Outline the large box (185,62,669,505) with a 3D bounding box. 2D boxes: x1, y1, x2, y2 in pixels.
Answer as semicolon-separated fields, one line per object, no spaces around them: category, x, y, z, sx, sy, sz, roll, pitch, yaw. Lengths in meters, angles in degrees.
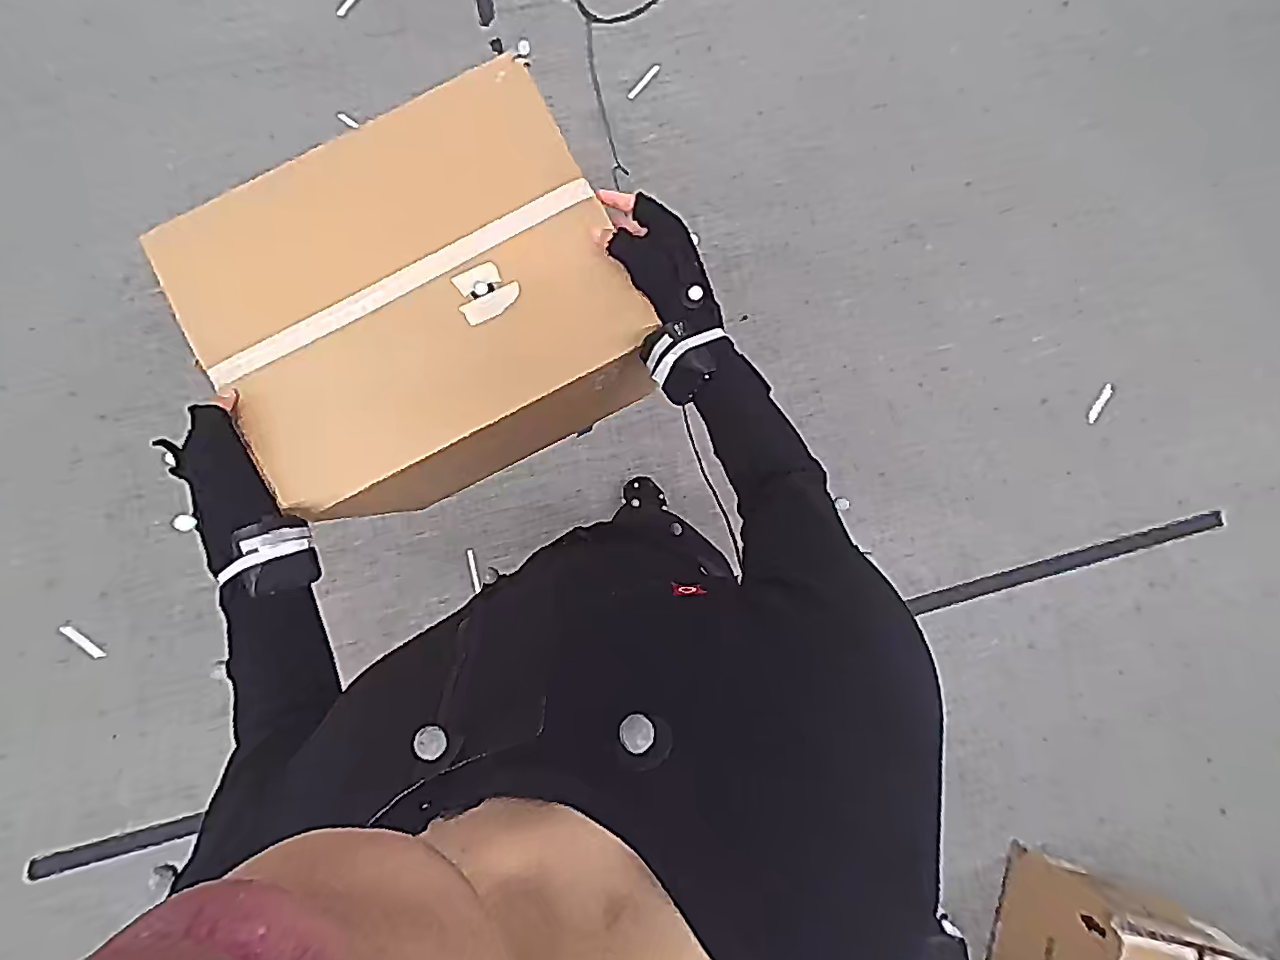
large box;-0.215;-0.193;0.686;0.408;0.320;0.320;-27;90;-1
